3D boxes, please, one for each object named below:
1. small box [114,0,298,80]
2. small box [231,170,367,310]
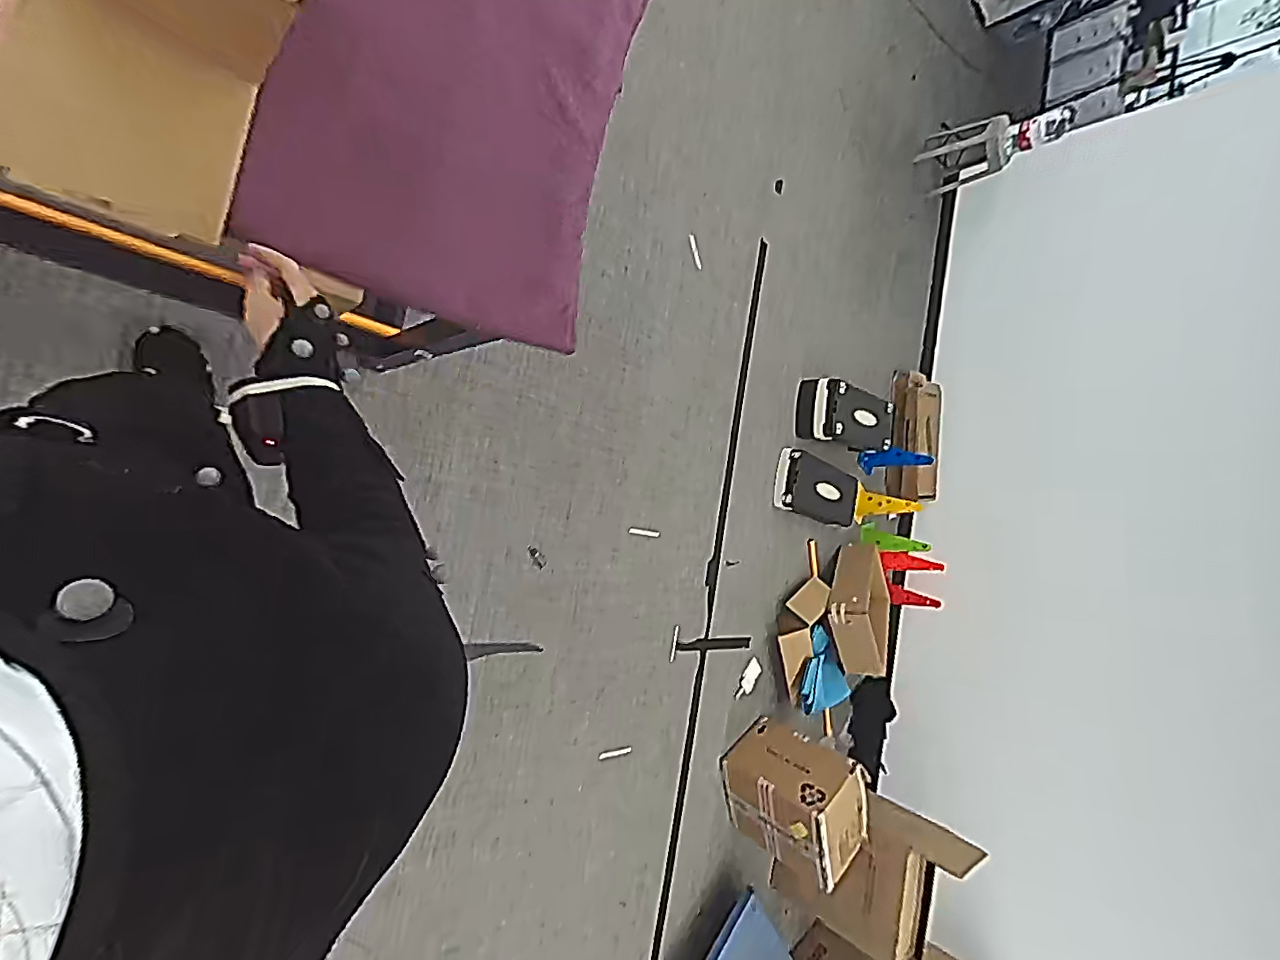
[{"bbox_3d":[-0.356,-0.470,0.414,0.168,0.179,0.176,15,90,-45],"label":"small box"},{"bbox_3d":[-0.645,-0.435,1.018,0.179,0.176,0.168,12,86,-43],"label":"small box"}]
